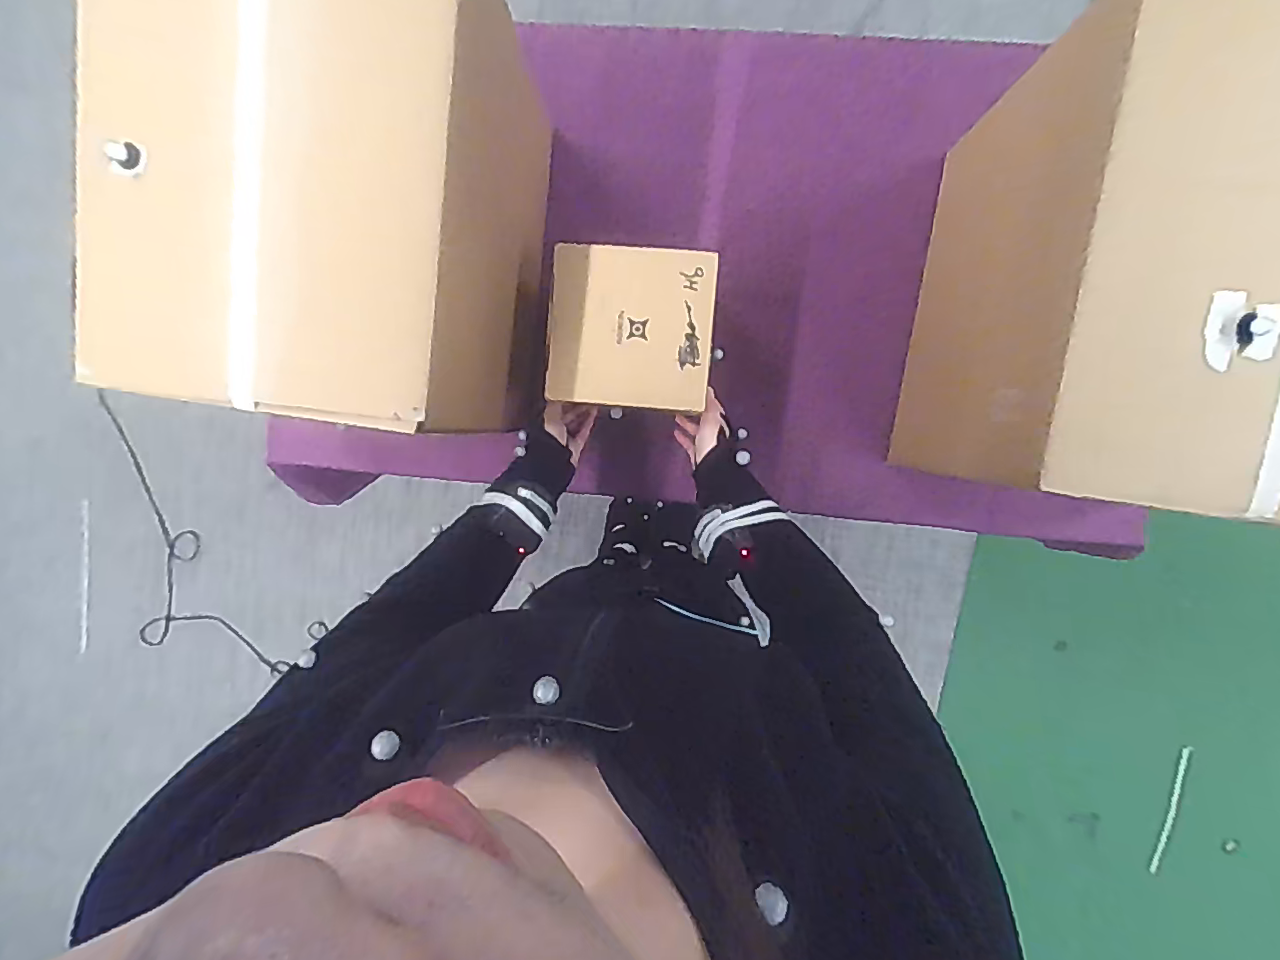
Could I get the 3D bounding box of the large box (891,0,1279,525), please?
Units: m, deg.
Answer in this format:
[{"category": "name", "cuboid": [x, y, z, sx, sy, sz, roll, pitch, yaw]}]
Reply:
[{"category": "large box", "cuboid": [0.503, -0.185, 0.555, 0.320, 0.320, 0.408, 9, 97, 3]}]
